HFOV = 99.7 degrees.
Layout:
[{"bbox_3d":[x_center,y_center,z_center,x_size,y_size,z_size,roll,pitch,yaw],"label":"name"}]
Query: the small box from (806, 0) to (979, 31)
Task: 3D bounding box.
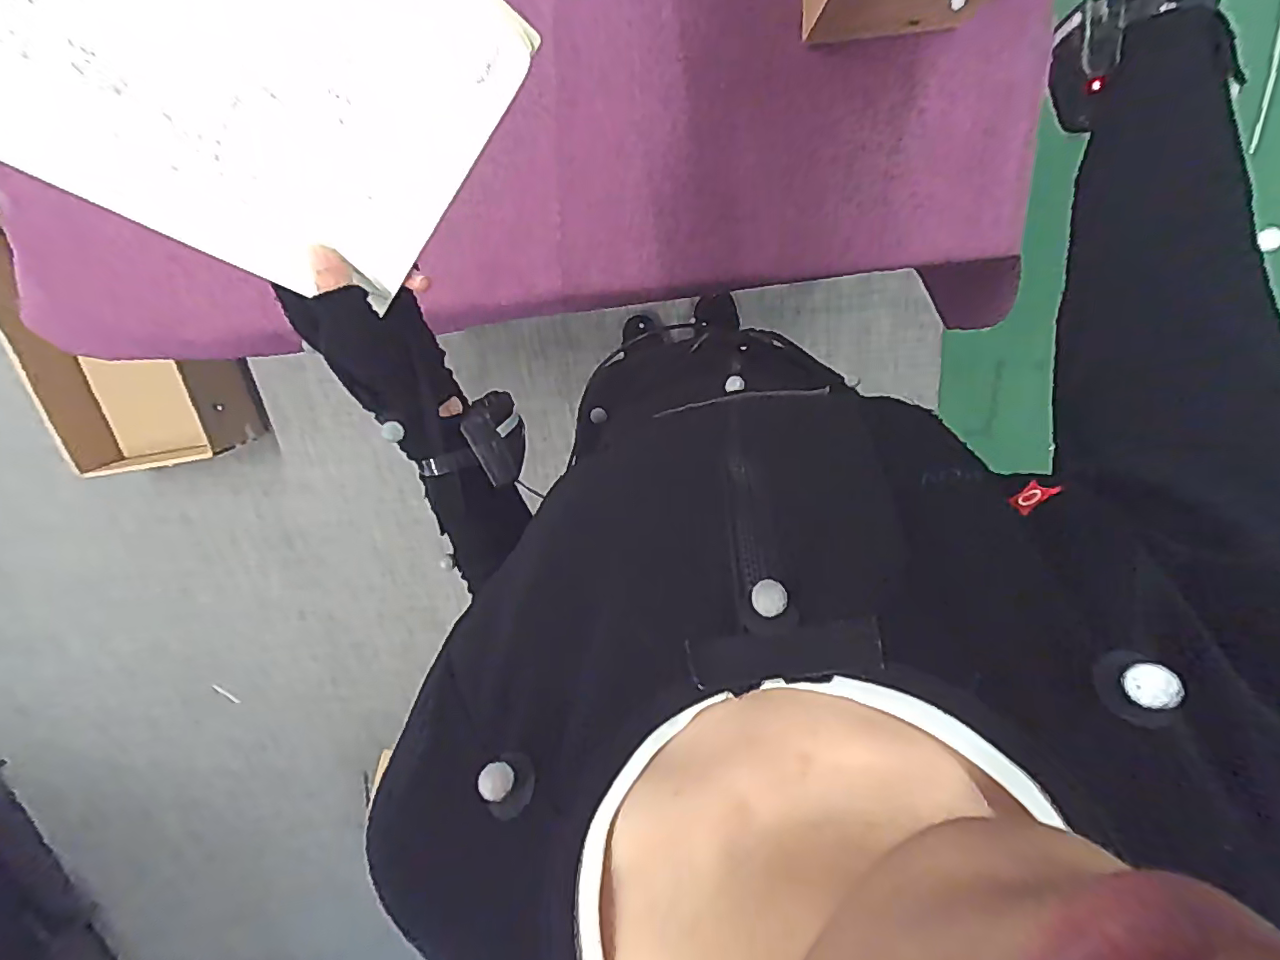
[{"bbox_3d":[0.244,-0.521,0.461,0.168,0.176,0.179,-4,109,4],"label":"small box"}]
